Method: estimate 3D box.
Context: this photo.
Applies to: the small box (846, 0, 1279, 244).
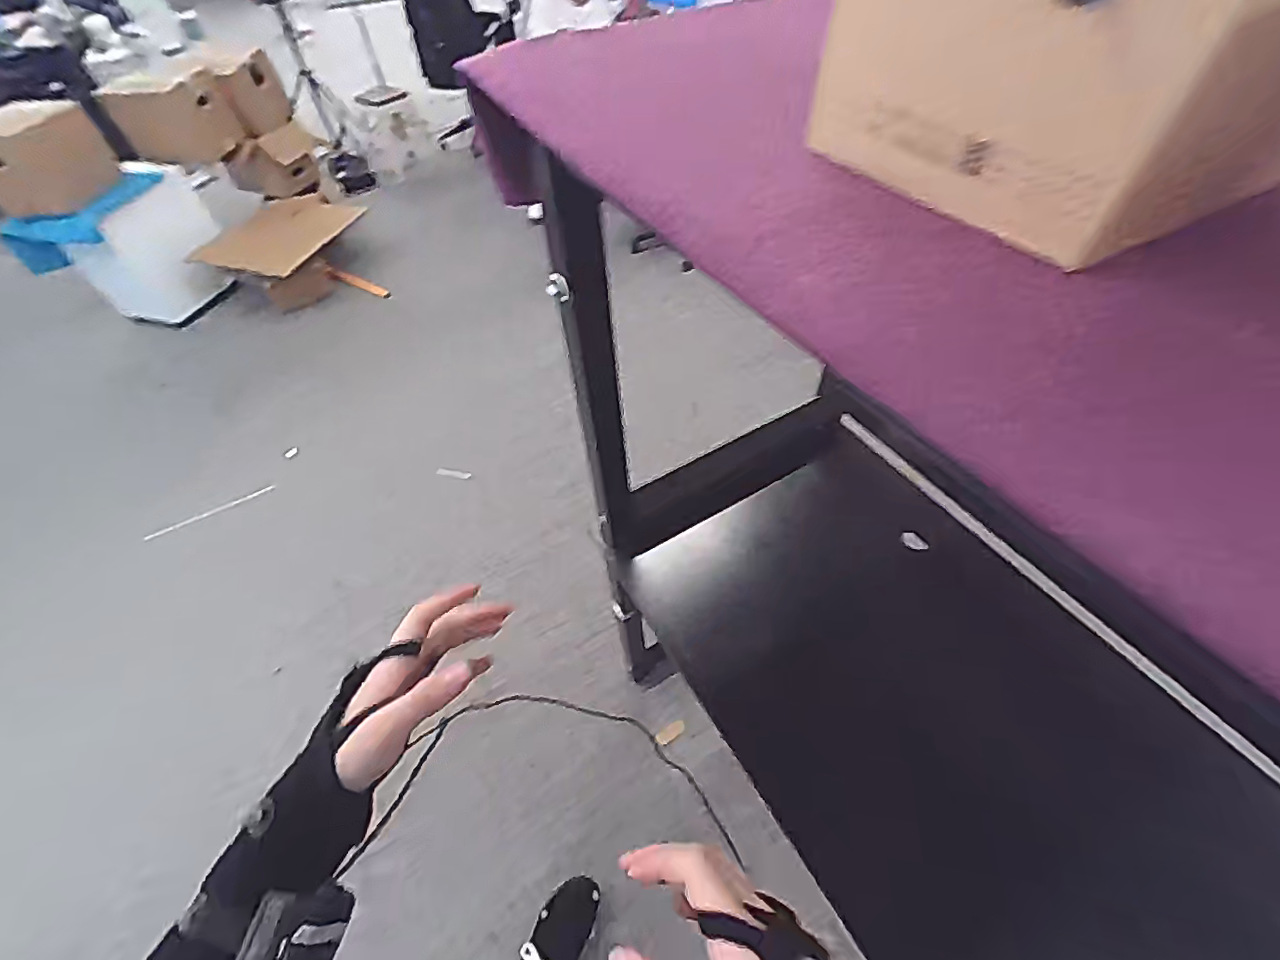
[{"bbox_3d":[0.212,-0.224,0.227,0.179,0.176,0.168,-23,53,-17],"label":"small box"}]
